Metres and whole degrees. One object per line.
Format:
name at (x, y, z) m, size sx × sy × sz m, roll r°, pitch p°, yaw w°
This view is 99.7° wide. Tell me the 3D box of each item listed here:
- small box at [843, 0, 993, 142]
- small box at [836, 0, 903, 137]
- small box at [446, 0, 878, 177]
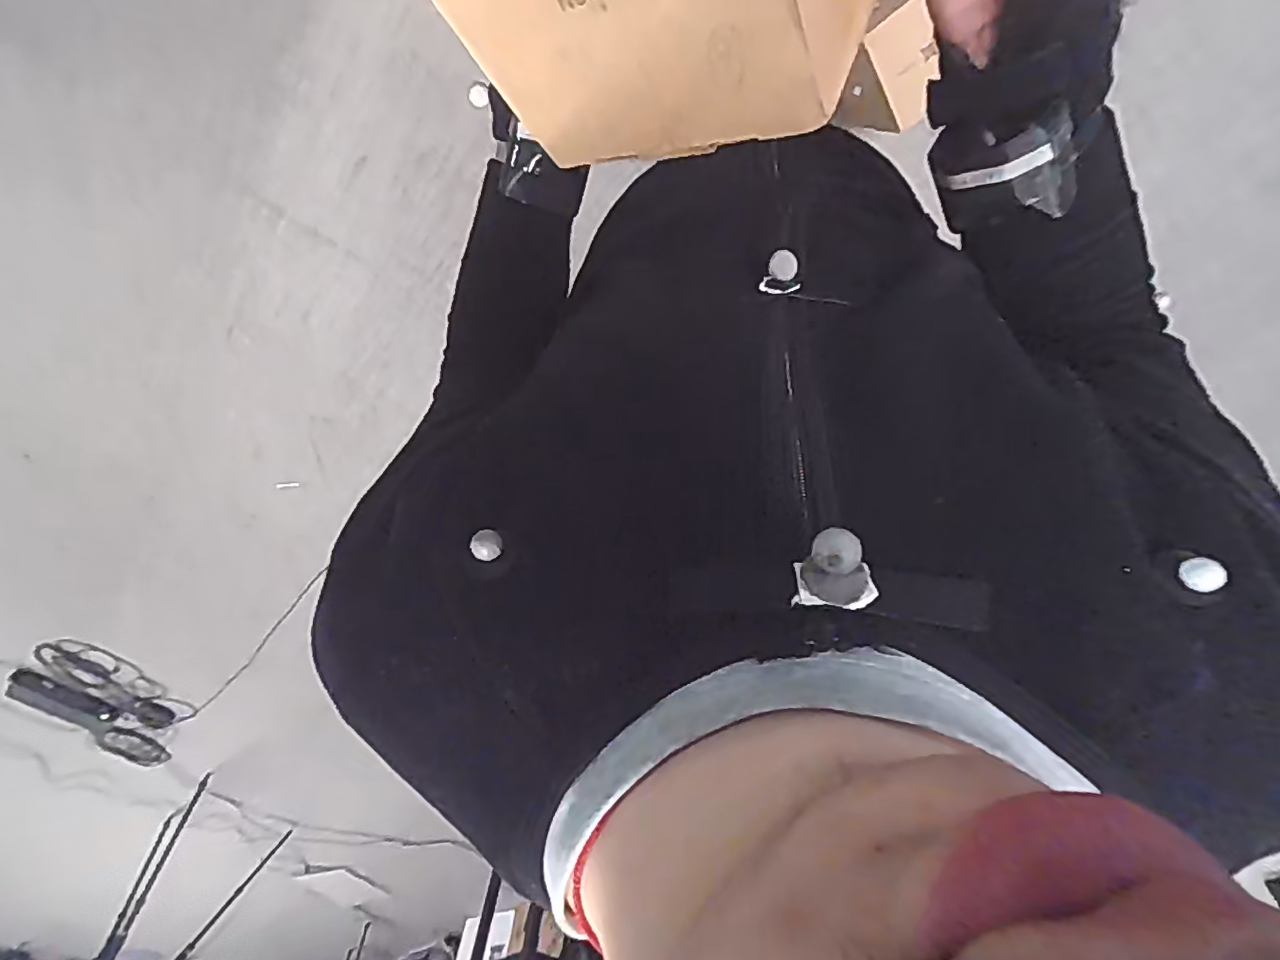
small box at (0.477, -0.740, 0.959) m, size 0.179 × 0.176 × 0.168 m, roll -29°, pitch 117°, yaw 22°
small box at (0.486, -0.835, 1.094) m, size 0.179 × 0.176 × 0.168 m, roll -30°, pitch 117°, yaw 23°
small box at (0.015, -0.274, 0.236) m, size 0.168 × 0.176 × 0.179 m, roll 15°, pitch 168°, yaw 34°
